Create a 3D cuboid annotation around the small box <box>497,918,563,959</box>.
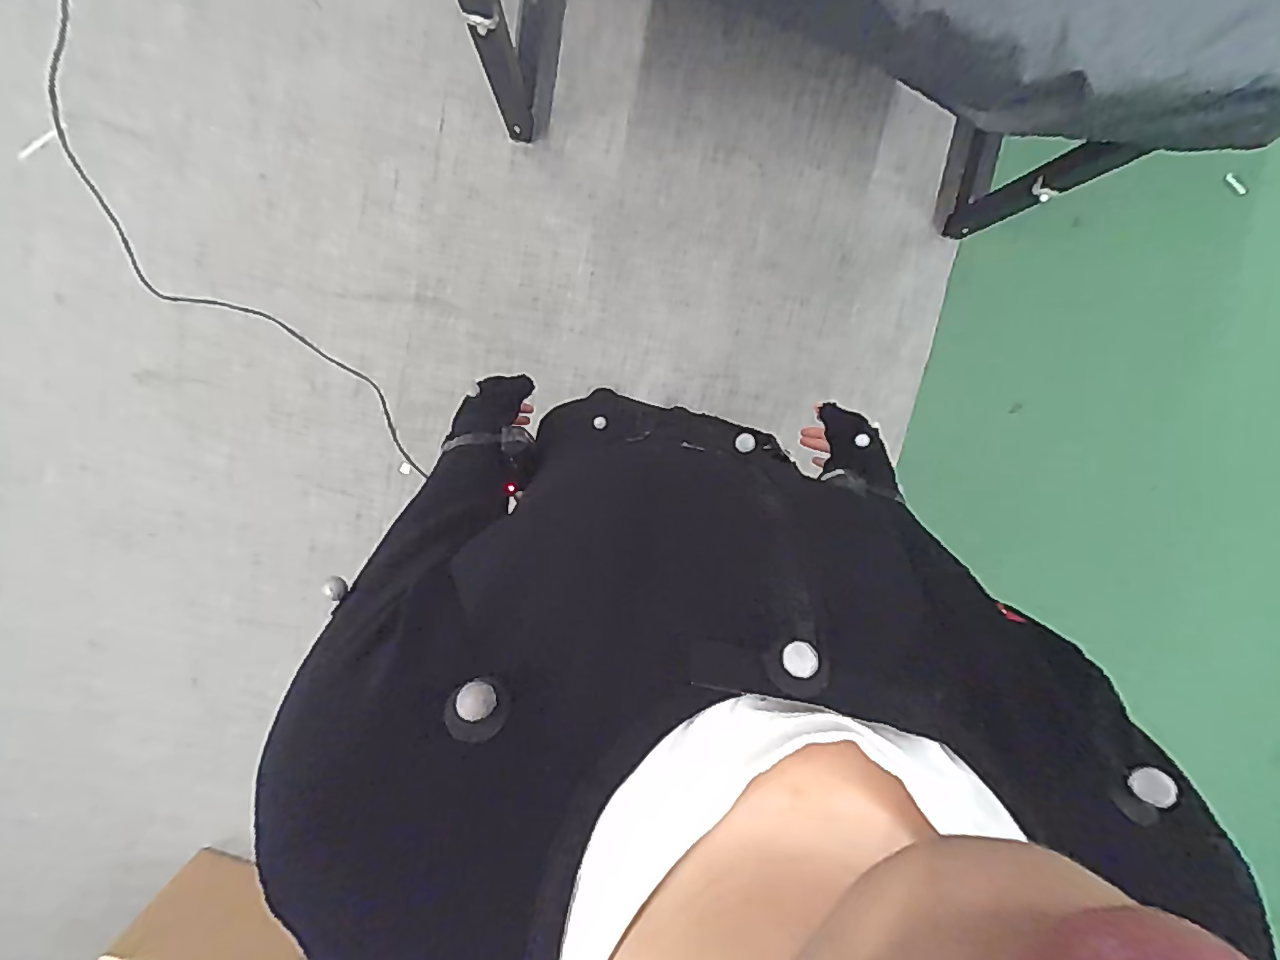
[{"bbox_3d":[-0.319,1.393,1.536,0.179,0.176,0.168,7,98,-3],"label":"small box"}]
